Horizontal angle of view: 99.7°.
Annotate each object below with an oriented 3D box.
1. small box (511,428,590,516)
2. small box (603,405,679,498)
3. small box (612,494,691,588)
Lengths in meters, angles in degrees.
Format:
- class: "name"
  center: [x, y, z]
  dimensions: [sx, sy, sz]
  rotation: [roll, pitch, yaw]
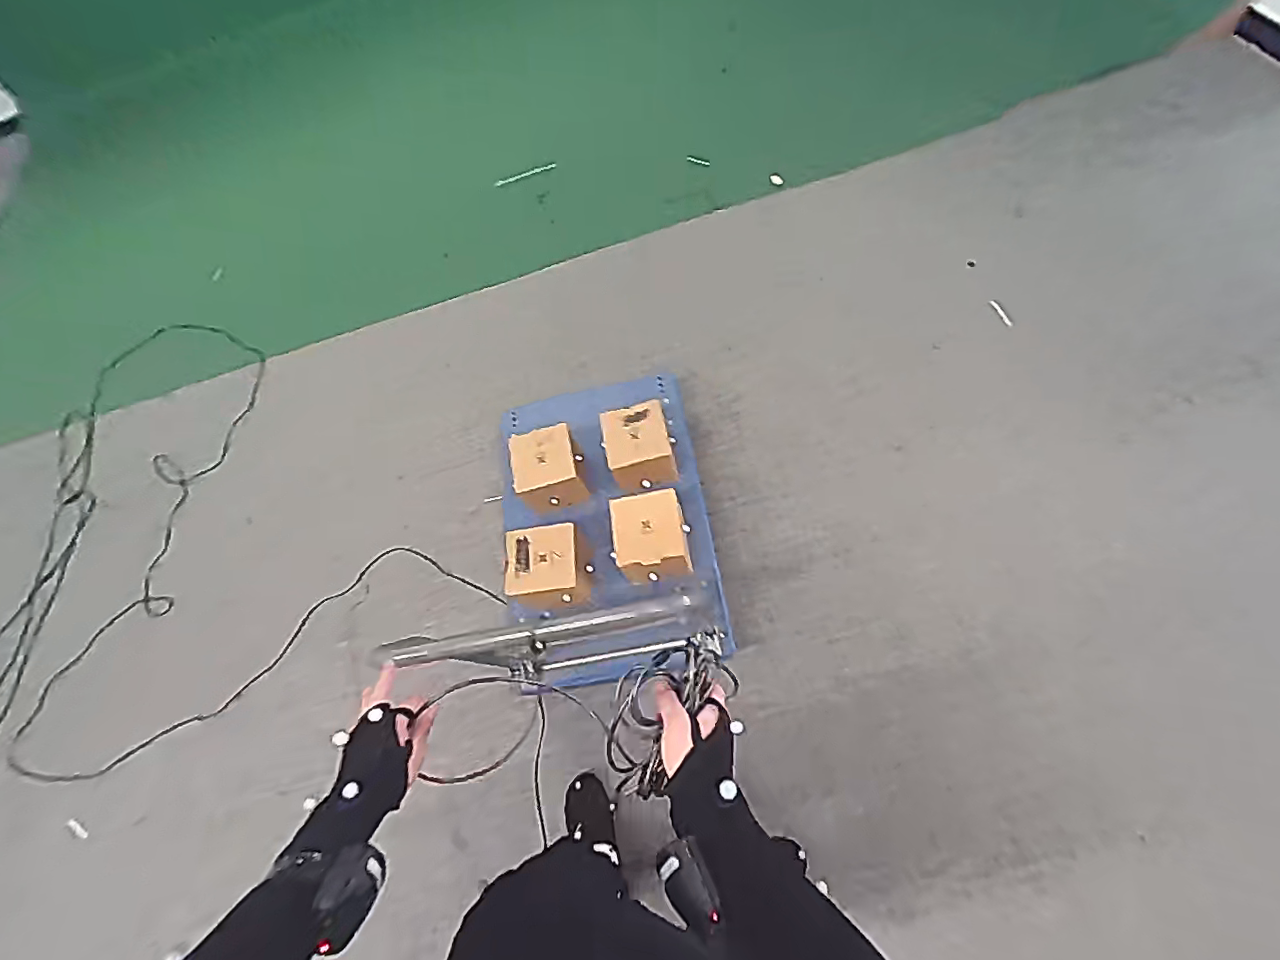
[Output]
- class: "small box"
  center: [-0.245, -0.013, 1.511]
  dimensions: [0.168, 0.176, 0.179]
  rotation: [-15, 63, 3]
- class: "small box"
  center: [0.004, -0.074, 1.489]
  dimensions: [0.168, 0.176, 0.179]
  rotation: [-14, 64, 6]
- class: "small box"
  center: [0.032, 0.160, 1.373]
  dimensions: [0.168, 0.176, 0.179]
  rotation: [-11, 64, 6]
